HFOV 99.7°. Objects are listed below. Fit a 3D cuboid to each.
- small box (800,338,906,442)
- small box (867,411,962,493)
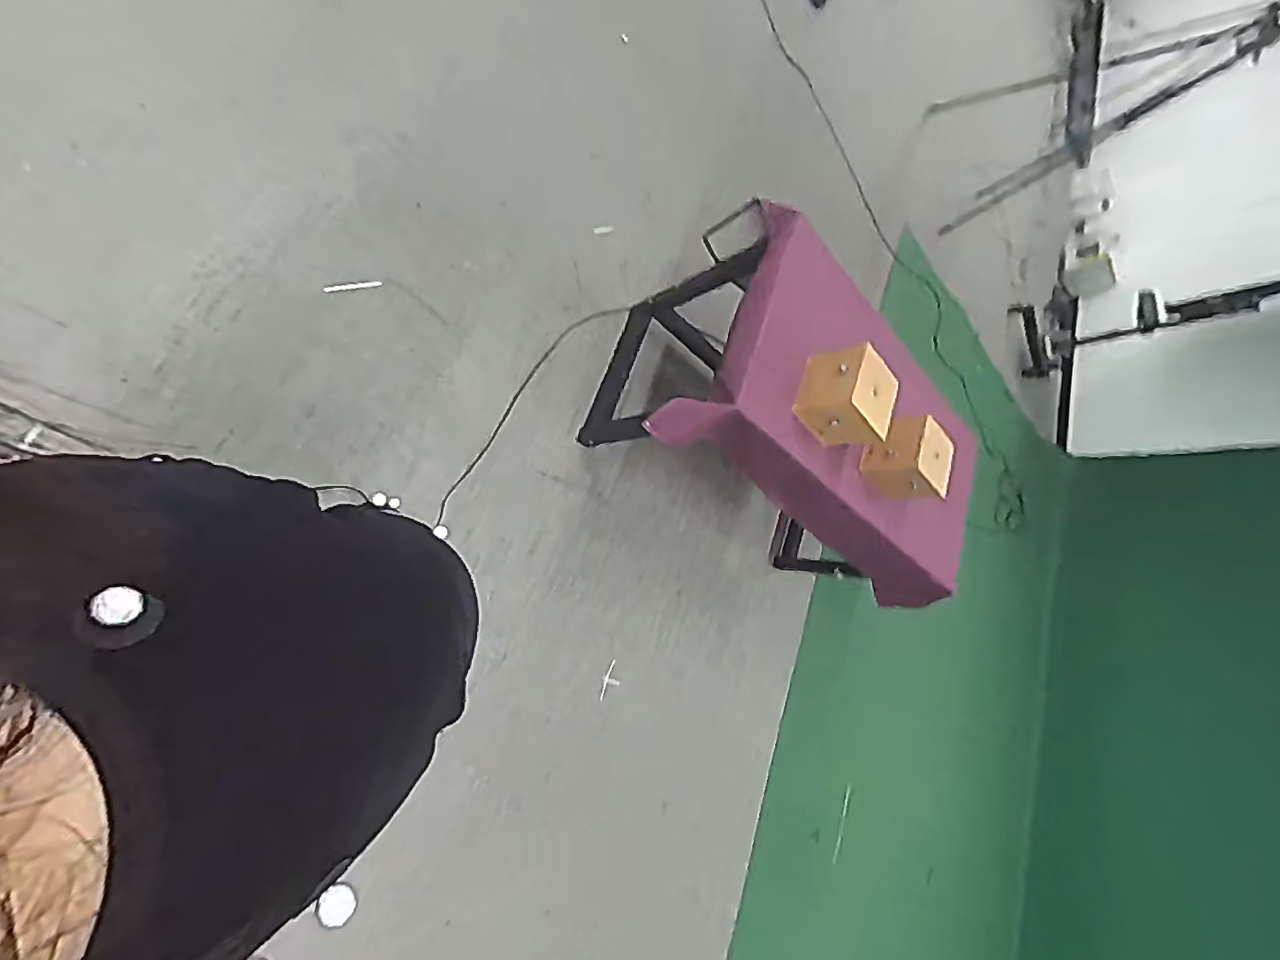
[{"bbox_3d":[0.518,-0.211,1.328,0.168,0.176,0.179,36,65,-30],"label":"small box"},{"bbox_3d":[0.762,-0.068,1.506,0.179,0.176,0.168,34,68,-31],"label":"small box"}]
